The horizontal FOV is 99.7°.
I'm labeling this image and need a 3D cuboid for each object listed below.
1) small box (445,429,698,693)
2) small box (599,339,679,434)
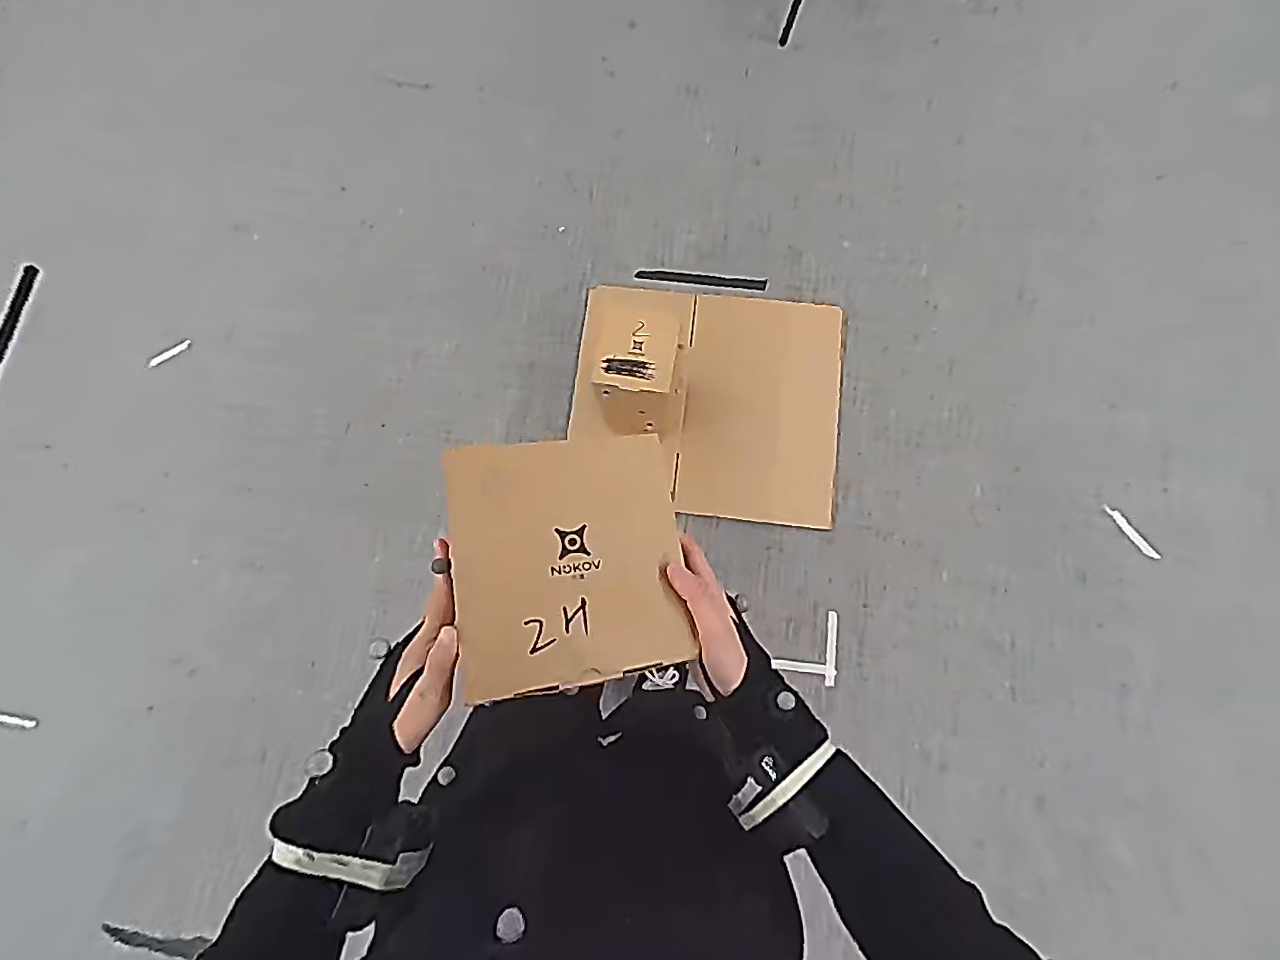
[{"bbox_3d":[-0.071,0.071,0.460,0.168,0.176,0.179,-6,75,-17],"label":"small box"},{"bbox_3d":[0.003,-0.226,1.358,0.168,0.176,0.179,11,79,3],"label":"small box"}]
